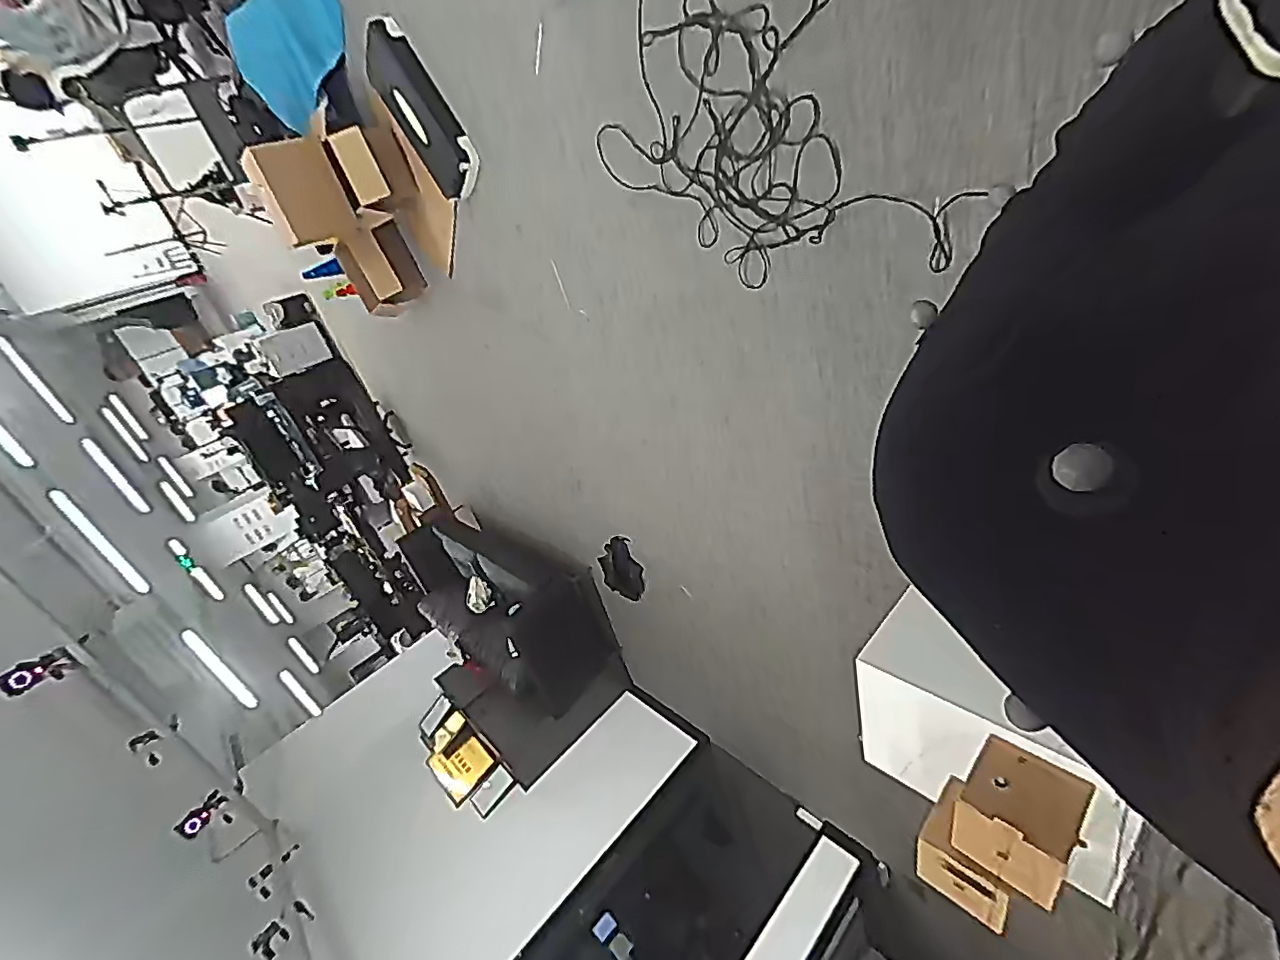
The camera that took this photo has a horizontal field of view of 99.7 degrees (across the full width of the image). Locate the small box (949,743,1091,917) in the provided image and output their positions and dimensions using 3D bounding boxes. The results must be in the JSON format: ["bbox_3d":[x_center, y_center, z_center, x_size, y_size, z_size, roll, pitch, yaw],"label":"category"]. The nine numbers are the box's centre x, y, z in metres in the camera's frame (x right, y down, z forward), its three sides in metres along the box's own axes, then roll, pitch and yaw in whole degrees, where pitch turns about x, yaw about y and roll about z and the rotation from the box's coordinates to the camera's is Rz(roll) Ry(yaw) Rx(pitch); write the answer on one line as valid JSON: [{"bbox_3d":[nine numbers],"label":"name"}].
[{"bbox_3d":[0.694,0.628,0.991,0.168,0.176,0.179,21,137,46],"label":"small box"}]
